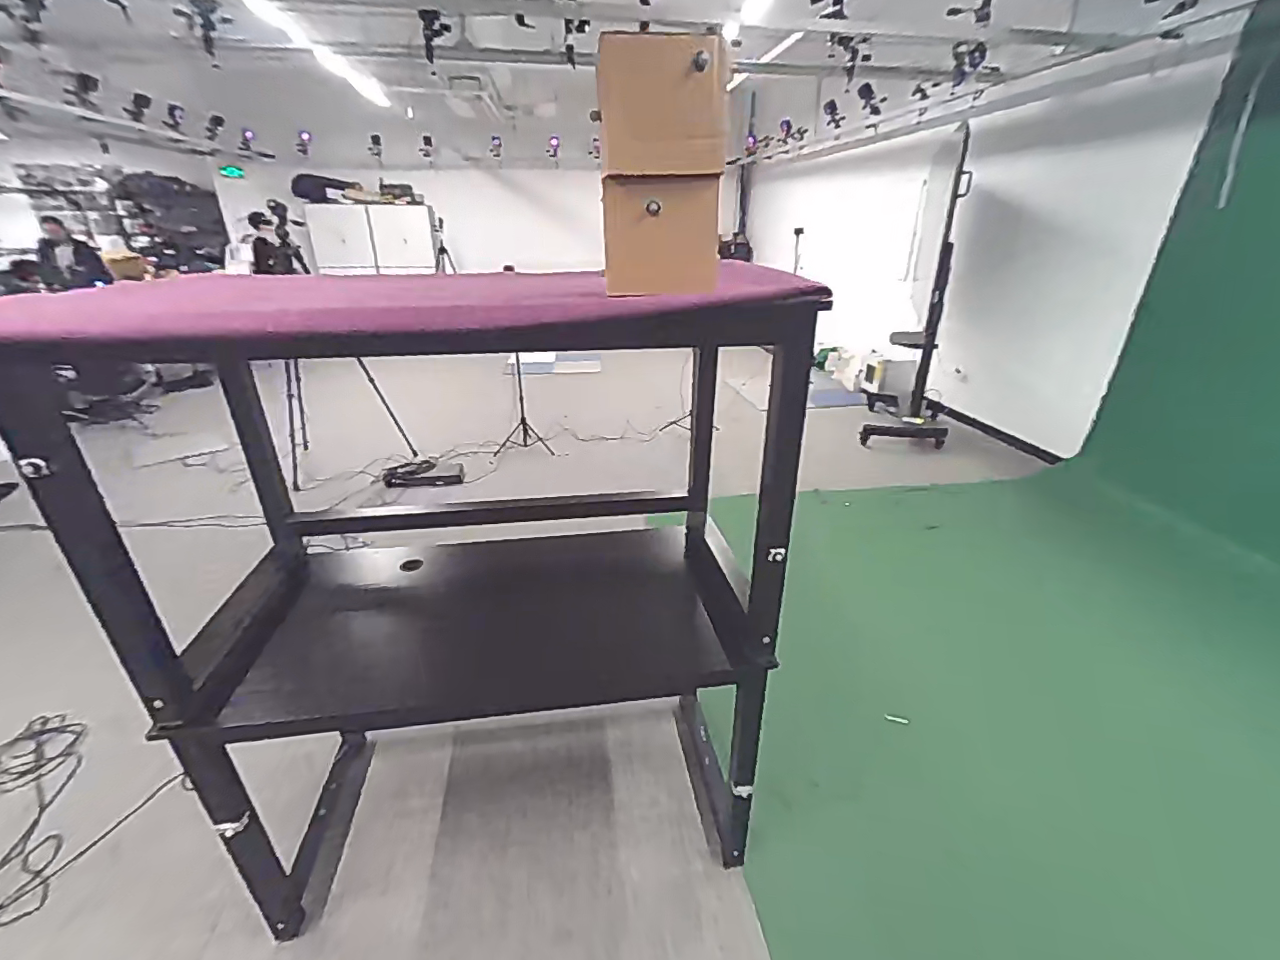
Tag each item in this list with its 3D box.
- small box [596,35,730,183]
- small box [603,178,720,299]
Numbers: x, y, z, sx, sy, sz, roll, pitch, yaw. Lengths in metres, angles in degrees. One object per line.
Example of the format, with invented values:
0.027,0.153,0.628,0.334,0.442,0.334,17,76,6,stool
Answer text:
0.029,-0.536,0.814,0.179,0.176,0.168,-3,24,-6,small box
0.031,-0.393,0.893,0.179,0.176,0.168,-1,24,-2,small box
